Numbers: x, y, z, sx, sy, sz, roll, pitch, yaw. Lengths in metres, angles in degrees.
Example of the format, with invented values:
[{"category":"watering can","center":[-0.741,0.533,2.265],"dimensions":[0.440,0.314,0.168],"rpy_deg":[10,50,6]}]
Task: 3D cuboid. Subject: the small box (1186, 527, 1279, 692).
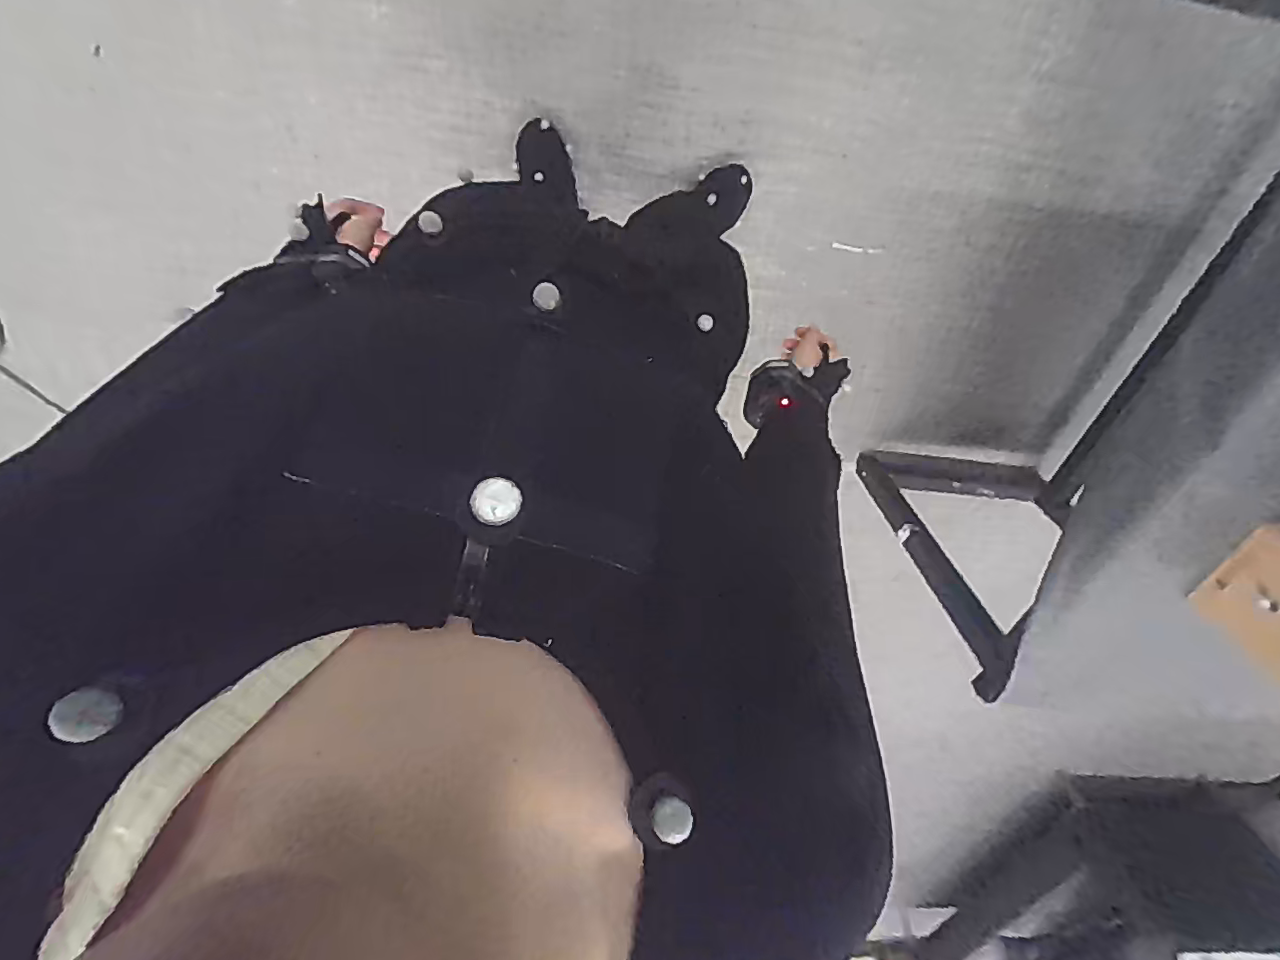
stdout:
[{"category":"small box","center":[0.940,0.180,0.745],"dimensions":[0.179,0.176,0.168],"rpy_deg":[4,125,-5]}]
